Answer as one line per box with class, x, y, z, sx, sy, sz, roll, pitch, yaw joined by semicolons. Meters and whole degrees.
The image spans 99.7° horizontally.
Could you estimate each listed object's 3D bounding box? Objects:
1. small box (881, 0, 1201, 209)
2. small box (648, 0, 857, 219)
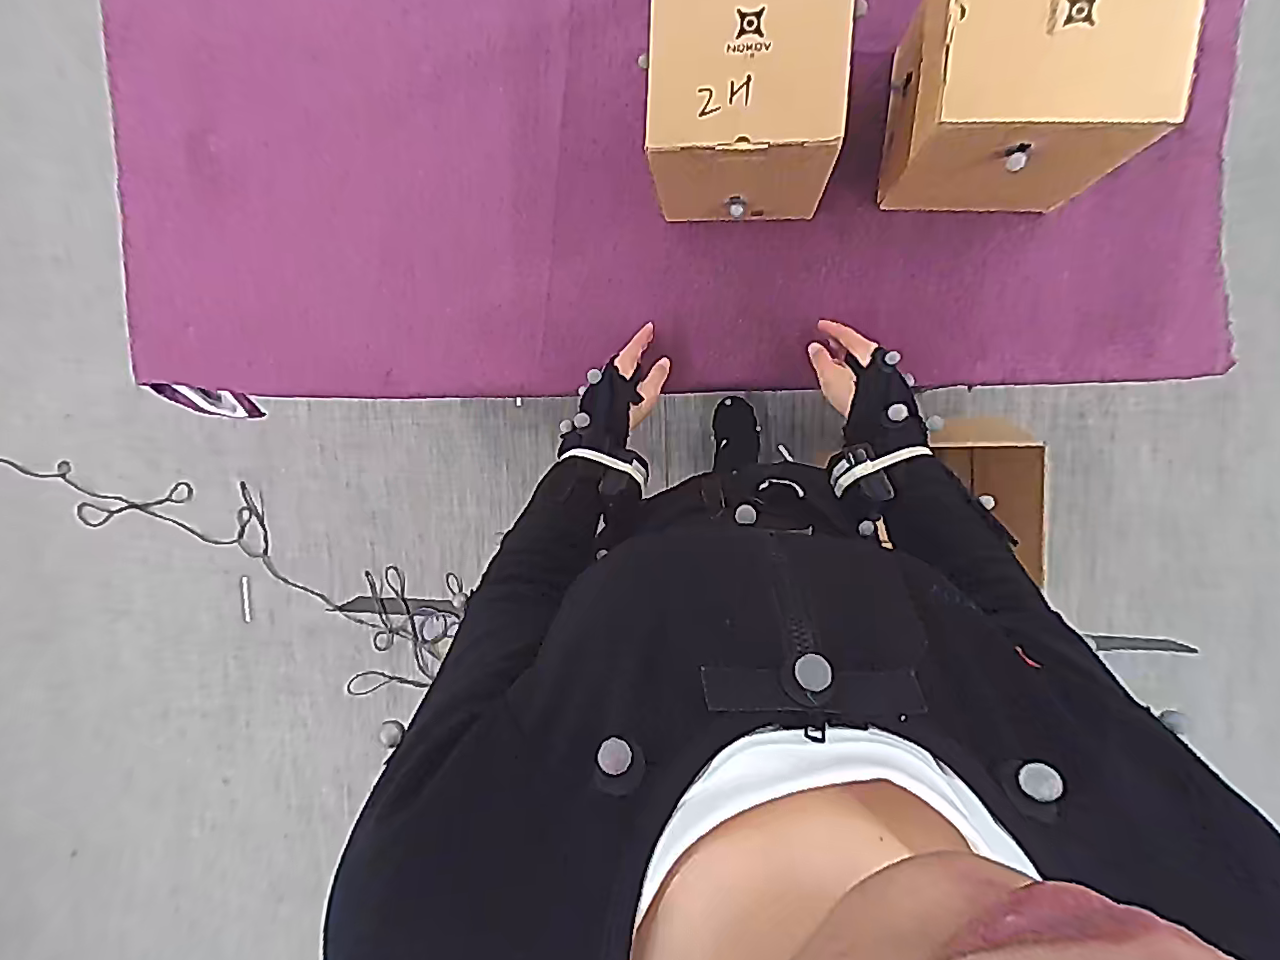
small box;0.341;-0.364;0.490;0.179;0.176;0.168;5;95;8
small box;0.103;-0.375;0.522;0.168;0.176;0.179;3;96;9
